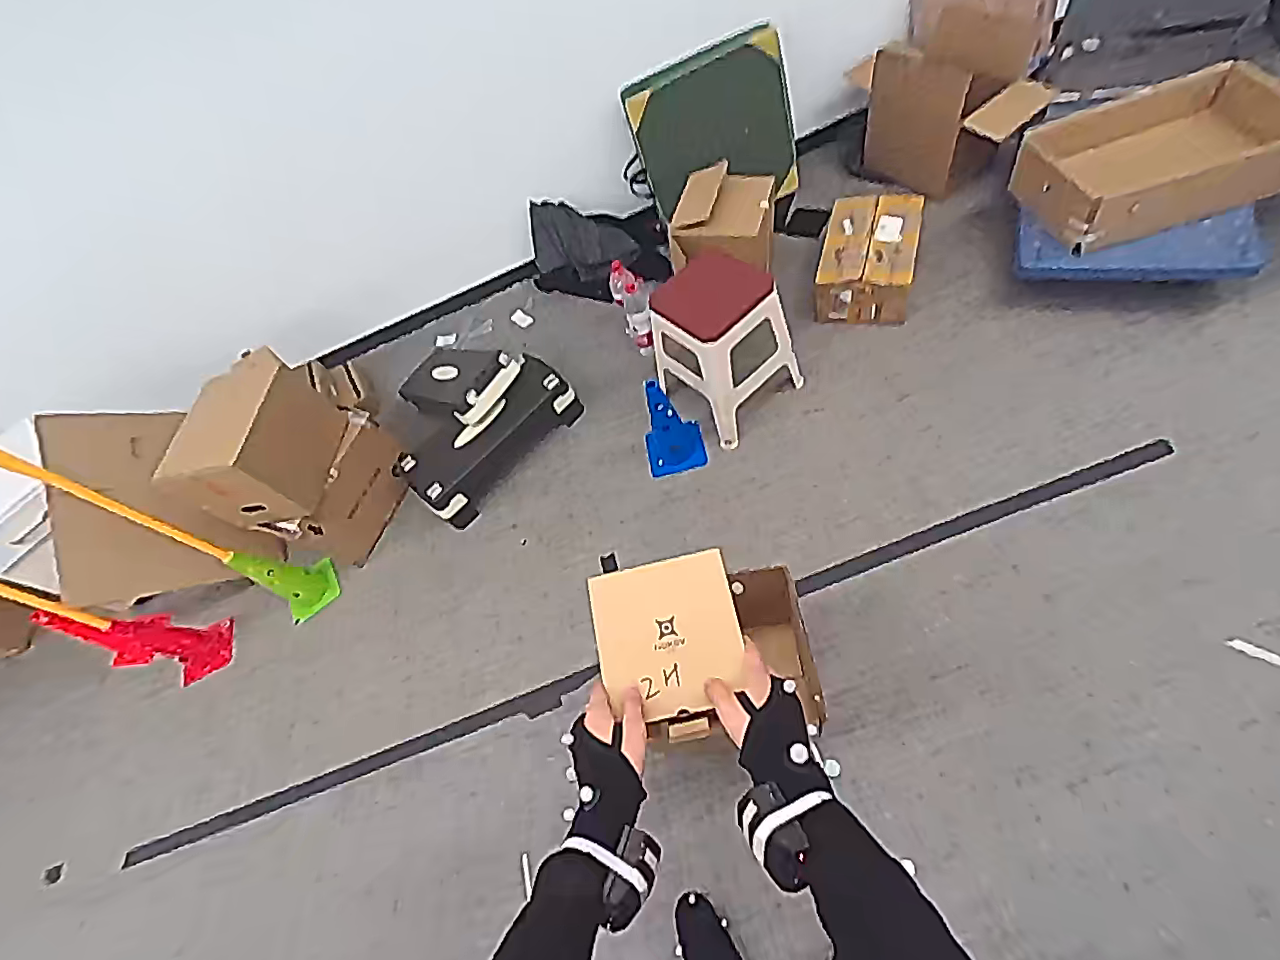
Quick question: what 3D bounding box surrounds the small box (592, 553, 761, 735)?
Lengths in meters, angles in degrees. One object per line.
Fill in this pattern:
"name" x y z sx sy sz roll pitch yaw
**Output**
"small box" 0.046 0.210 0.678 0.168 0.176 0.179 -13 66 5
